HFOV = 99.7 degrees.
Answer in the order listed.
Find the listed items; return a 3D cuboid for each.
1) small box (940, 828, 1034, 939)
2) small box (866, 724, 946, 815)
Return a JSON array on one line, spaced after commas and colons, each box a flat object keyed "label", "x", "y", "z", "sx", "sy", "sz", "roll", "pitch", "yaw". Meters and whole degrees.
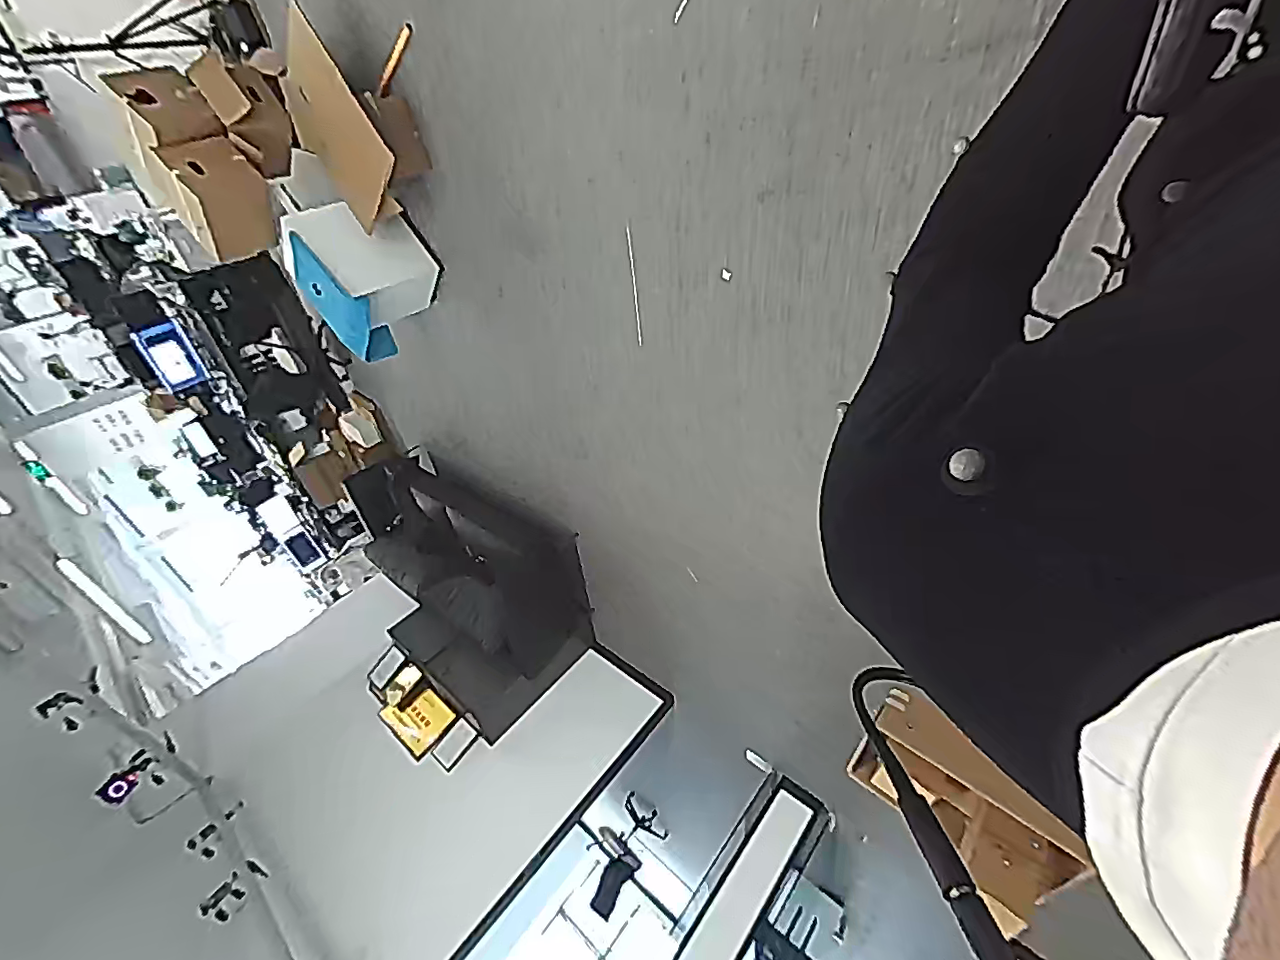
[{"label": "small box", "x": 1.000, "y": 1.158, "z": 1.558, "sx": 0.168, "sy": 0.176, "sz": 0.179, "roll": 26, "pitch": 137, "yaw": 32}, {"label": "small box", "x": 0.889, "y": 0.960, "z": 1.801, "sx": 0.168, "sy": 0.176, "sz": 0.179, "roll": 30, "pitch": 139, "yaw": 29}]
